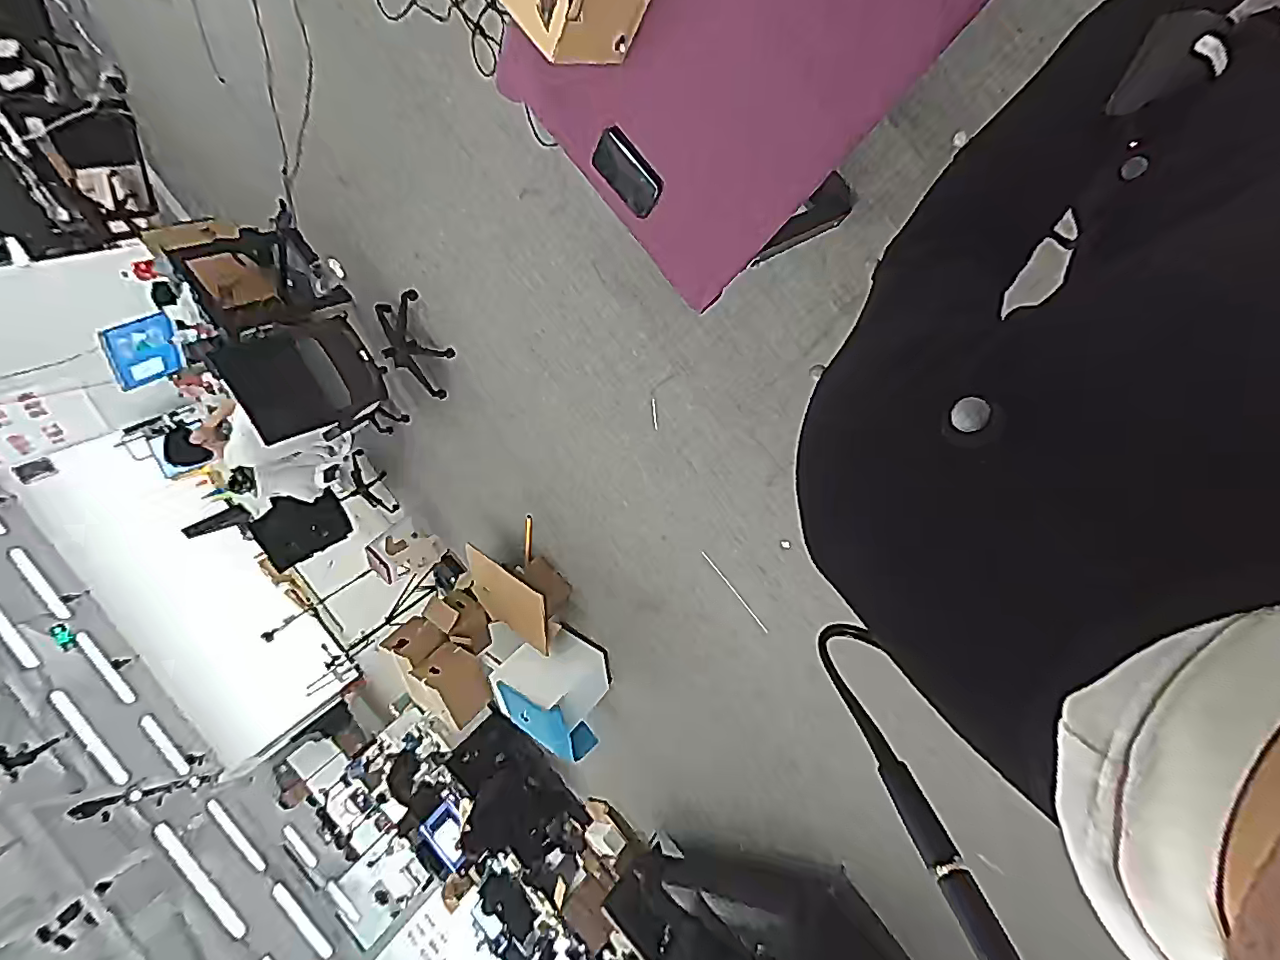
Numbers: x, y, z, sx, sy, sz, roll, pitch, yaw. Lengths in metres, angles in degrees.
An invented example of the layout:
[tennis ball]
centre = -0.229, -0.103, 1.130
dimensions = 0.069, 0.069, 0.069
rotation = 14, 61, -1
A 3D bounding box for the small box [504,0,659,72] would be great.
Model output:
[small box]
centre = -0.080, -0.748, 0.796
dimensions = 0.179, 0.176, 0.168
rotation = 51, 142, 2
